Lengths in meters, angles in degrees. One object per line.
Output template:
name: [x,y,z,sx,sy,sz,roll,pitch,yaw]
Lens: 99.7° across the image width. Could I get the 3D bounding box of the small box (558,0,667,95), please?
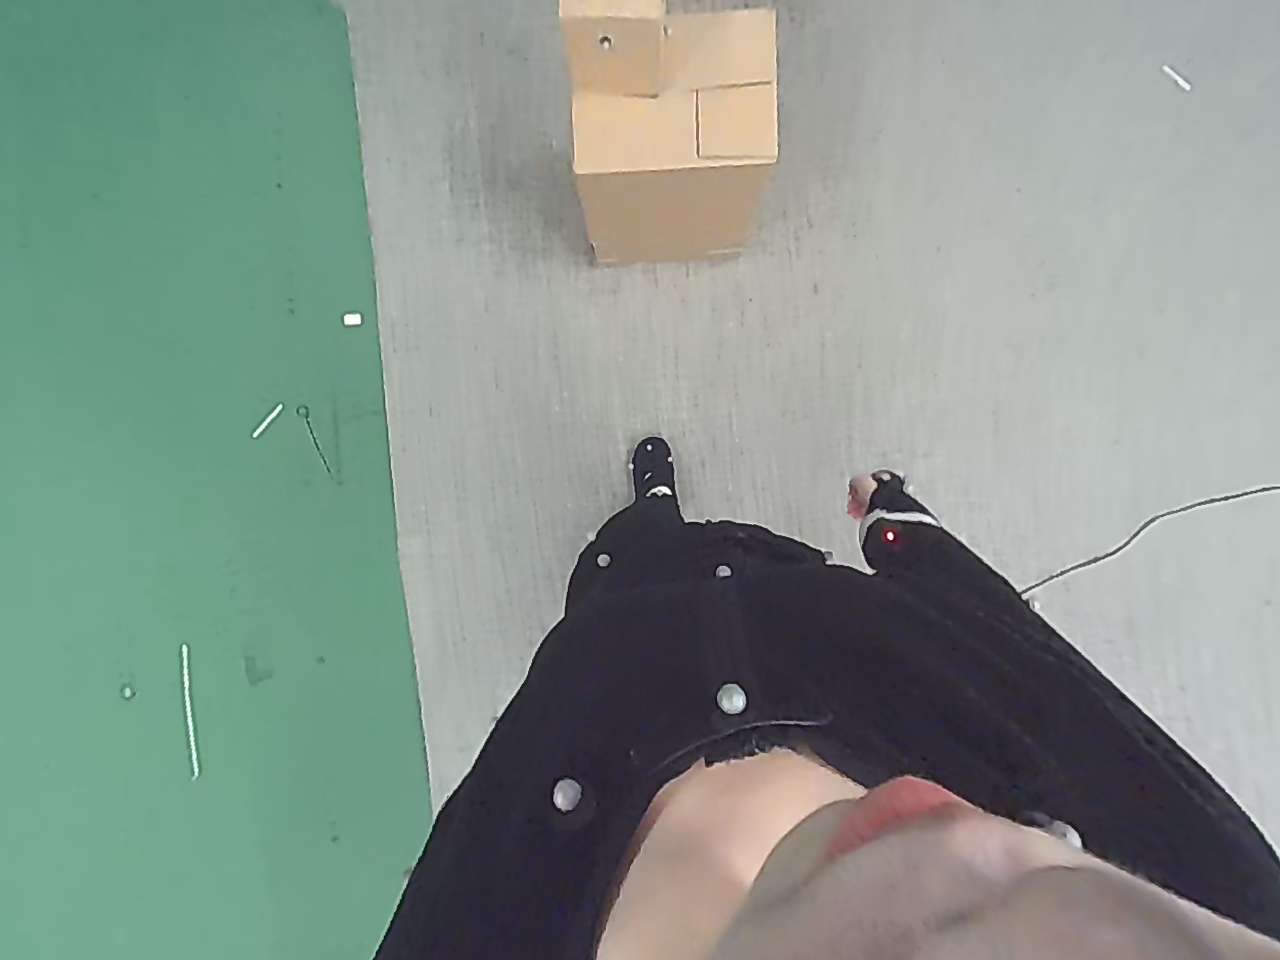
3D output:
small box: [-0.043,-0.839,0.982,0.179,0.176,0.168,3,88,2]
